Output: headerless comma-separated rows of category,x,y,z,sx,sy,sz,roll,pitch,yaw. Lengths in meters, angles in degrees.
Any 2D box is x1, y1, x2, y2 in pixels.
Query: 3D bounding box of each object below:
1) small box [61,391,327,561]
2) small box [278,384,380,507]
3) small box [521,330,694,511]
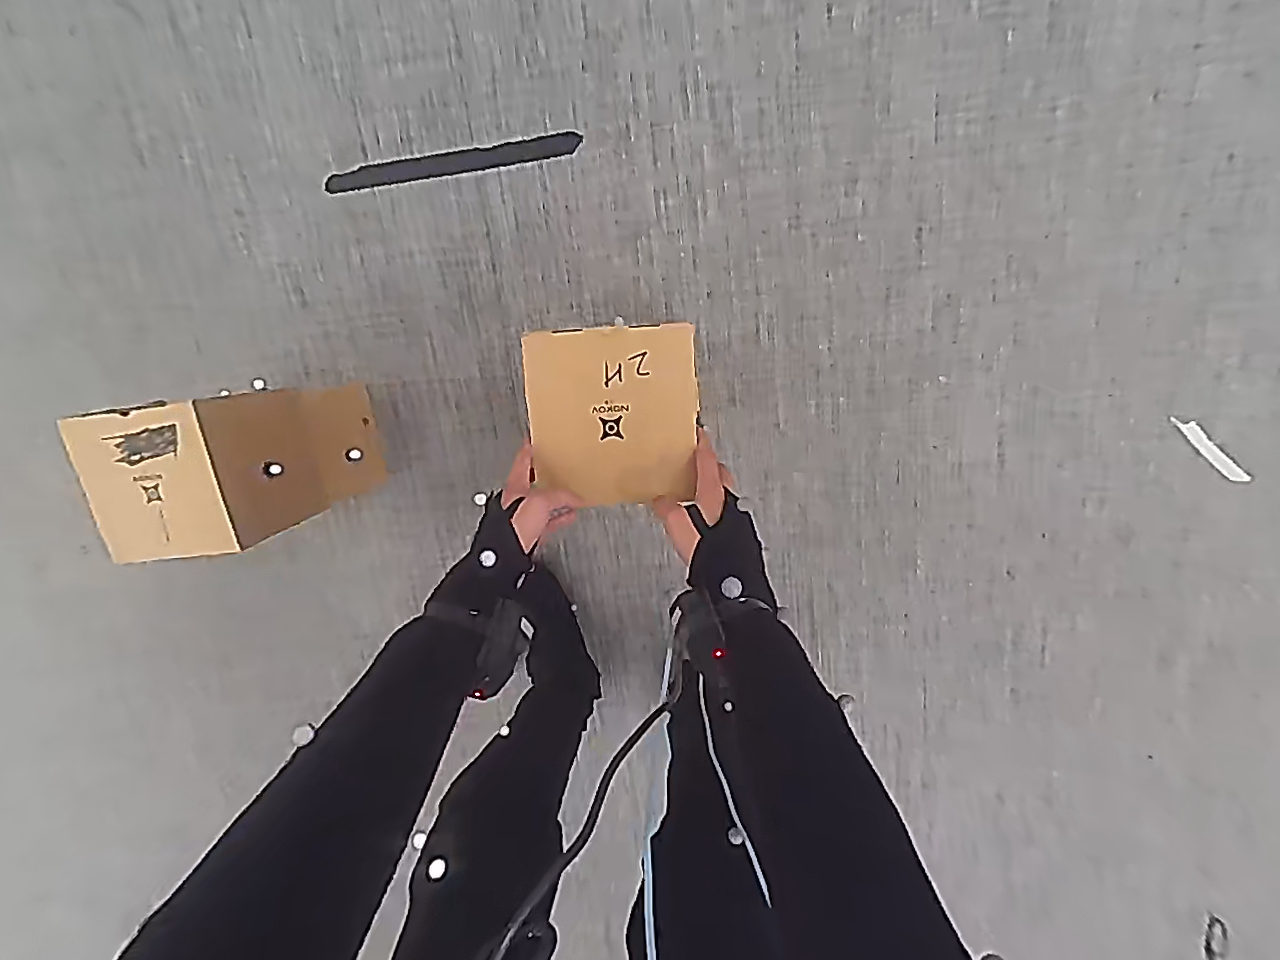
small box,-0.535,-0.015,0.678,0.168,0.176,0.179,-5,105,6
small box,-0.530,-0.053,0.838,0.179,0.176,0.168,-6,104,6
small box,-0.023,-0.073,0.603,0.168,0.176,0.179,-2,103,4
